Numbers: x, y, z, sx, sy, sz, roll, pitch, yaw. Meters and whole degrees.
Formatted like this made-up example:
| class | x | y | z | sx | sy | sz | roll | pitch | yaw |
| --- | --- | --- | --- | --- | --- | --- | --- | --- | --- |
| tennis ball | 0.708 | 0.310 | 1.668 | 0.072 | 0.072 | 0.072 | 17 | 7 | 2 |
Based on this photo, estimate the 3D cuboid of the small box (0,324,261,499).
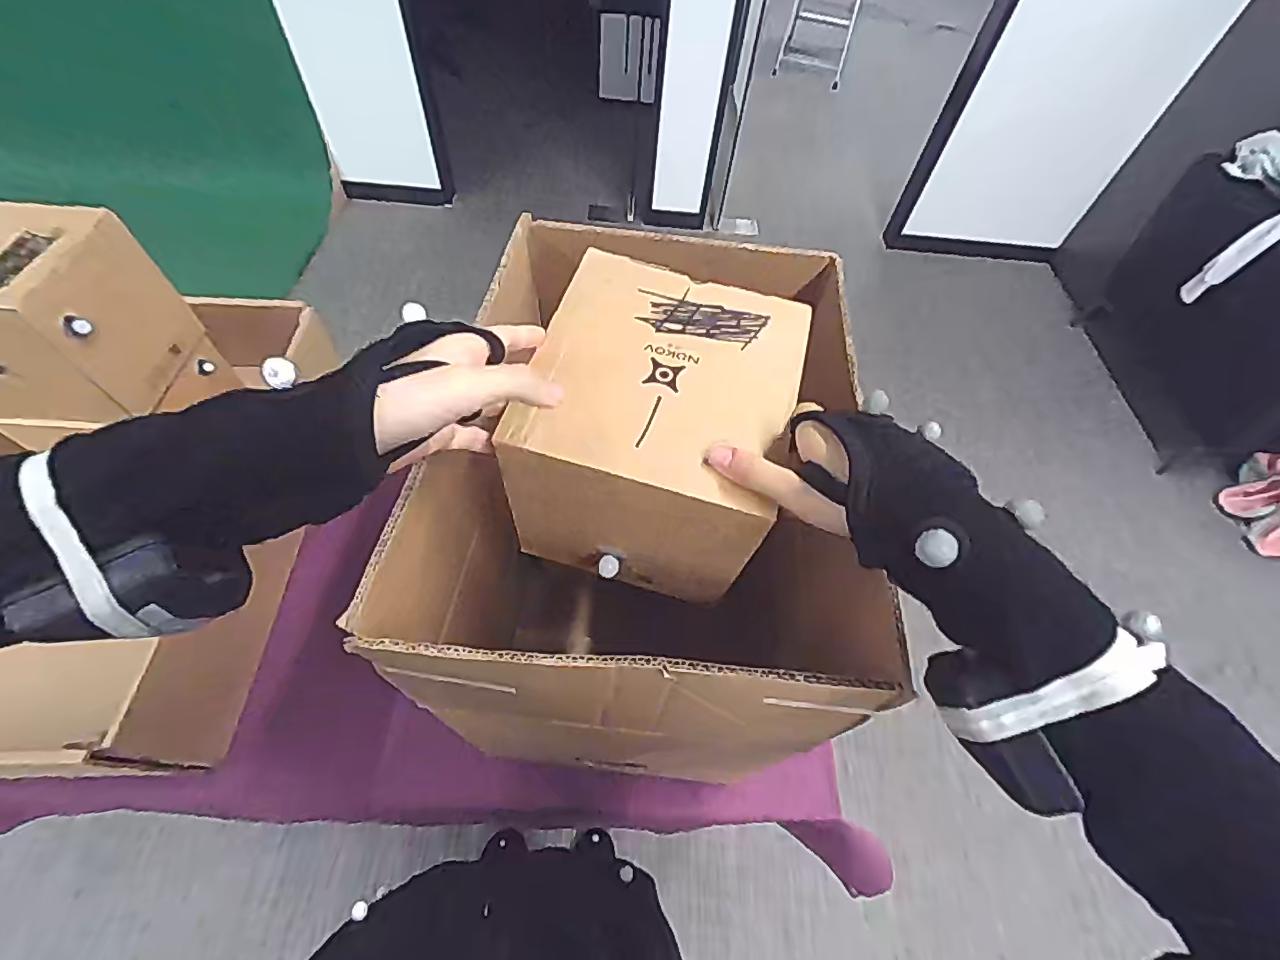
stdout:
| class | x | y | z | sx | sy | sz | roll | pitch | yaw |
| --- | --- | --- | --- | --- | --- | --- | --- | --- | --- |
| small box | -0.670 | -0.088 | 0.743 | 0.168 | 0.176 | 0.179 | 3 | 57 | -2 |

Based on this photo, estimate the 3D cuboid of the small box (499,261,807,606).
| class | x | y | z | sx | sy | sz | roll | pitch | yaw |
| --- | --- | --- | --- | --- | --- | --- | --- | --- | --- |
| small box | 0.012 | -0.027 | 0.413 | 0.168 | 0.176 | 0.179 | 15 | 62 | 5 |
